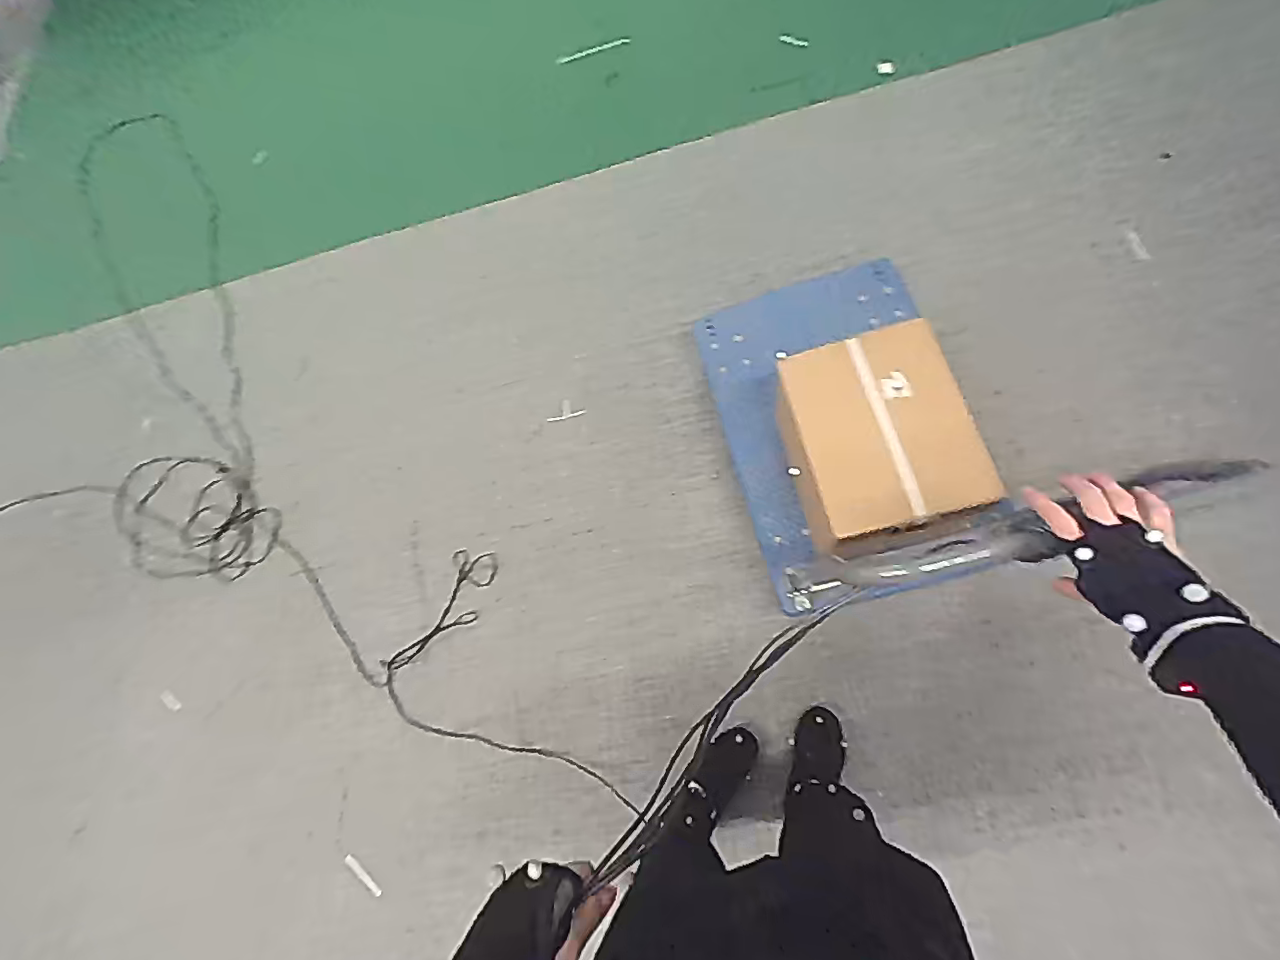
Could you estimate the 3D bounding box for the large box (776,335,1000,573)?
[{"bbox_3d":[0.515,-0.040,1.222,0.320,0.320,0.408,-15,68,7],"label":"large box"}]
